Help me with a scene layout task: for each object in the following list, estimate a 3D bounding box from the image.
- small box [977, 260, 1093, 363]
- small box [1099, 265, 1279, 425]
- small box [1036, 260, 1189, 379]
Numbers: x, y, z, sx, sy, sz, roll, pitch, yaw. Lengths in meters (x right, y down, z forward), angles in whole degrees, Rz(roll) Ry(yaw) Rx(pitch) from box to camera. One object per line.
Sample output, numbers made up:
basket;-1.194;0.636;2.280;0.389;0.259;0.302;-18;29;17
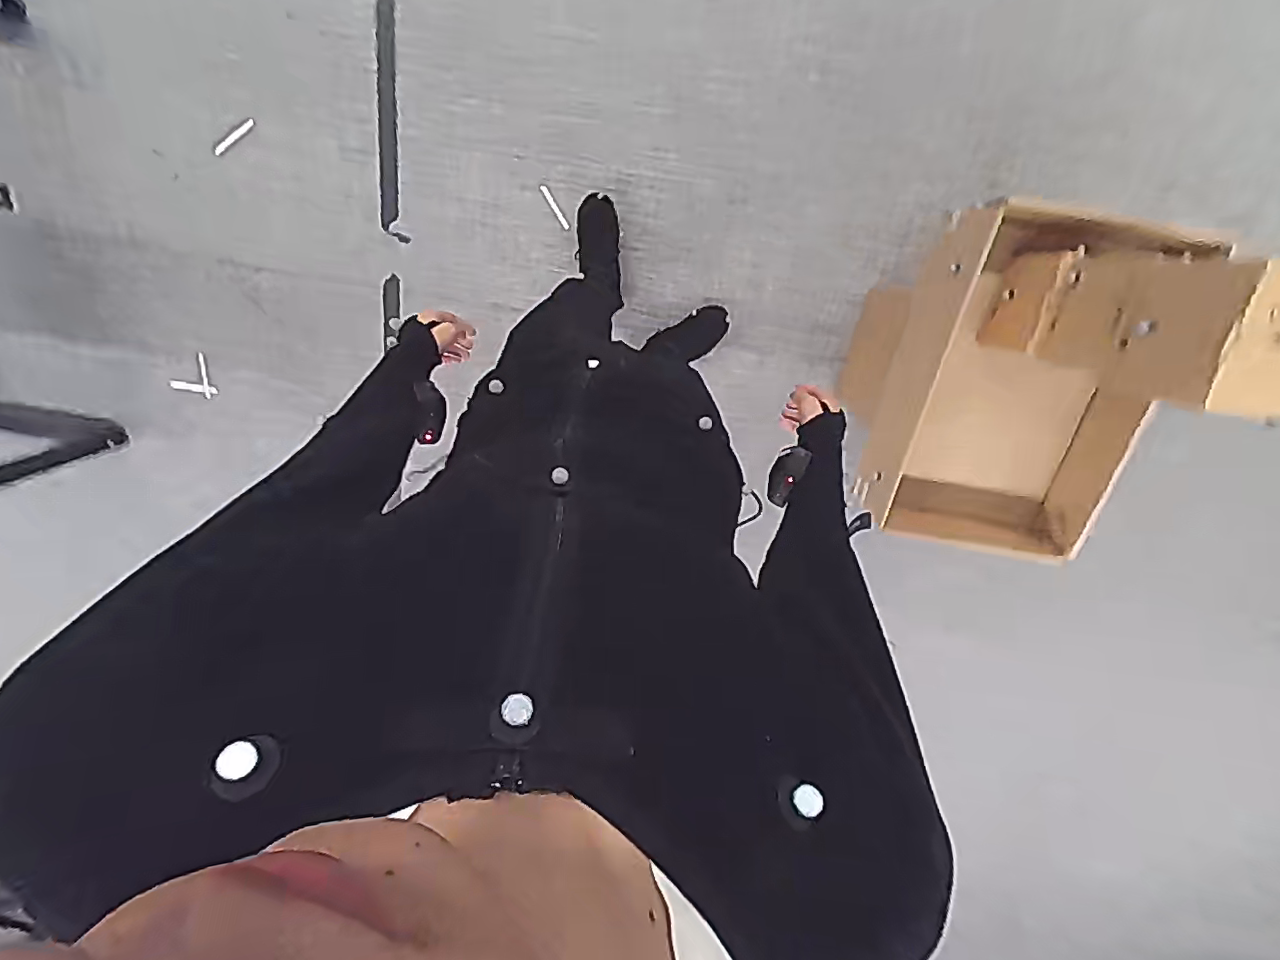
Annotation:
small box;0.758;-0.297;0.971;0.179;0.176;0.168;9;112;1
small box;0.740;-0.171;0.668;0.179;0.176;0.168;6;112;3
small box;0.758;-0.231;0.820;0.179;0.176;0.168;9;112;0
